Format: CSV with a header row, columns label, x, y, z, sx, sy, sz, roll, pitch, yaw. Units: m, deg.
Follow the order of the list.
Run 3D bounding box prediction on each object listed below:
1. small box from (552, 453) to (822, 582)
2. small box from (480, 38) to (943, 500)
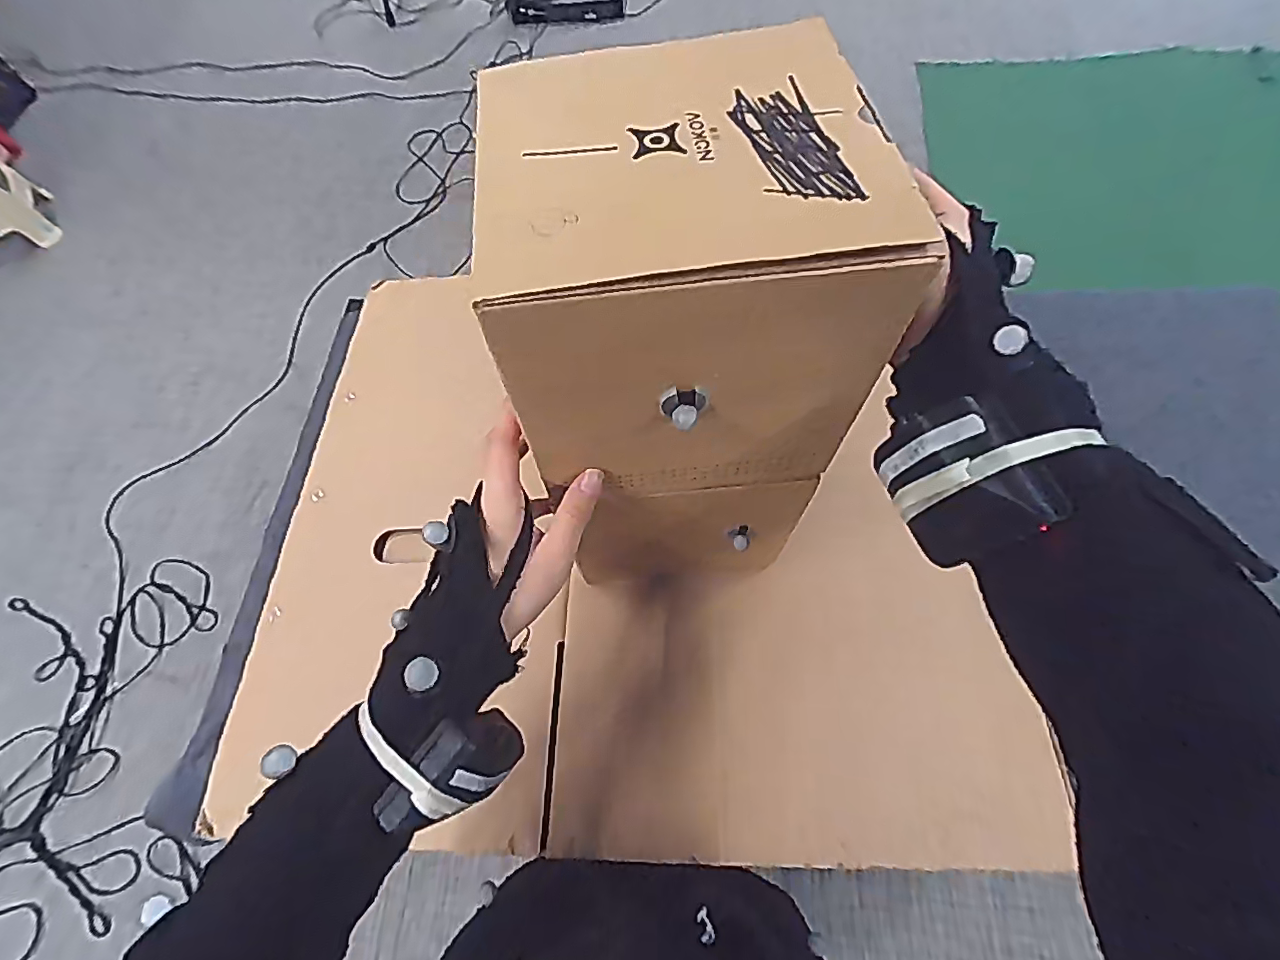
label,x,y,z,sx,sy,sz,roll,pitch,yaw
small box,0.027,-0.024,0.449,0.179,0.176,0.168,-6,62,0
small box,0.022,-0.103,0.305,0.179,0.176,0.168,-7,62,-1
